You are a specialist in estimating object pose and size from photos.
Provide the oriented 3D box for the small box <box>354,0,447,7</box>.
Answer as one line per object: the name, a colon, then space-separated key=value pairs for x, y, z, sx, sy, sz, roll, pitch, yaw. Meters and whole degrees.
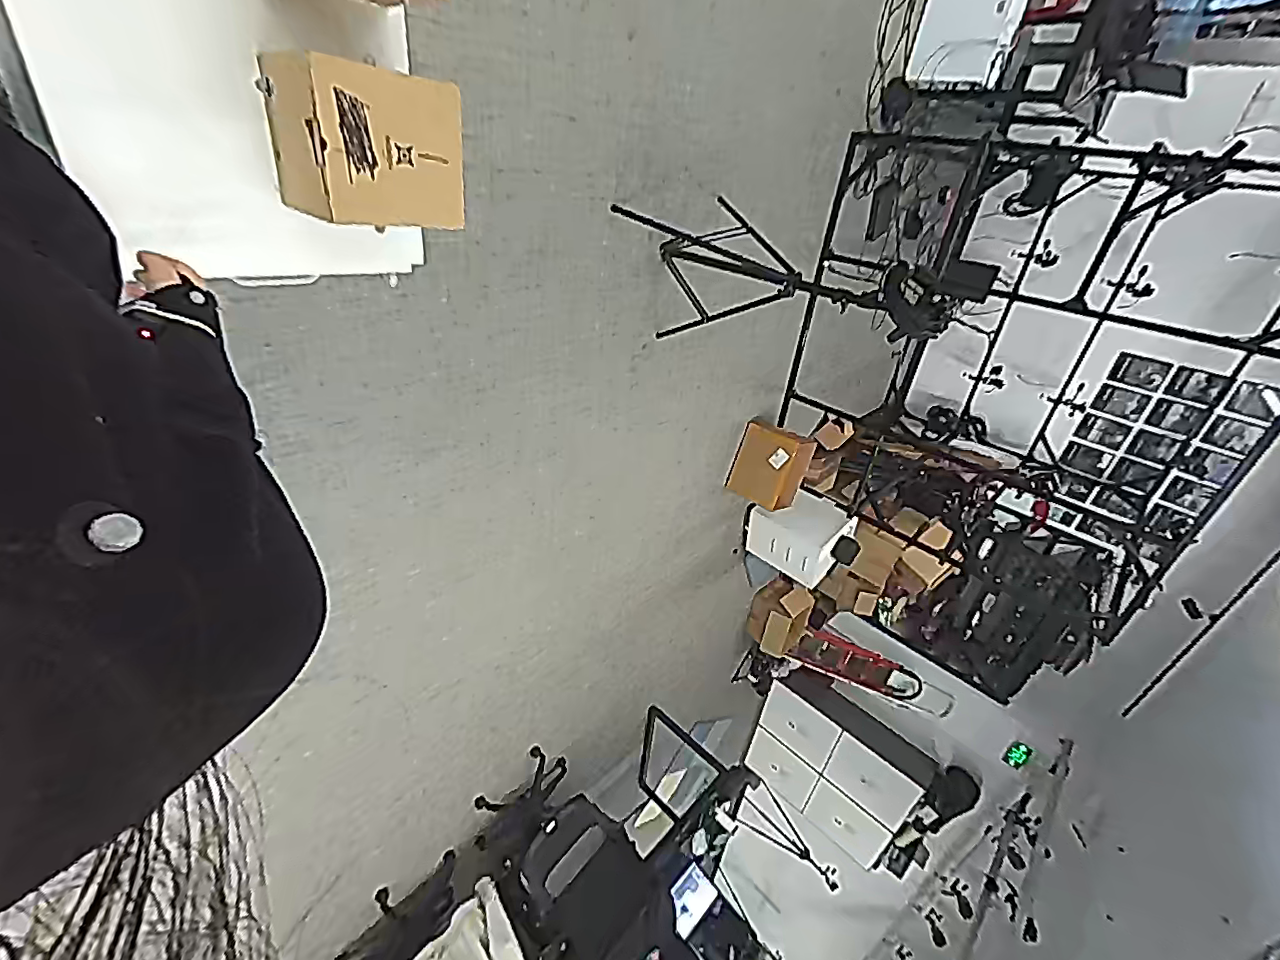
small box: x=-0.324 y=-0.636 z=0.575 sx=0.179 sy=0.176 sz=0.168 roll=-20 pitch=130 yaw=-44

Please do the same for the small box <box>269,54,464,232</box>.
small box: x=-0.351 y=-0.425 z=0.699 sx=0.179 sy=0.176 sz=0.168 roll=-22 pitch=131 yaw=-43
